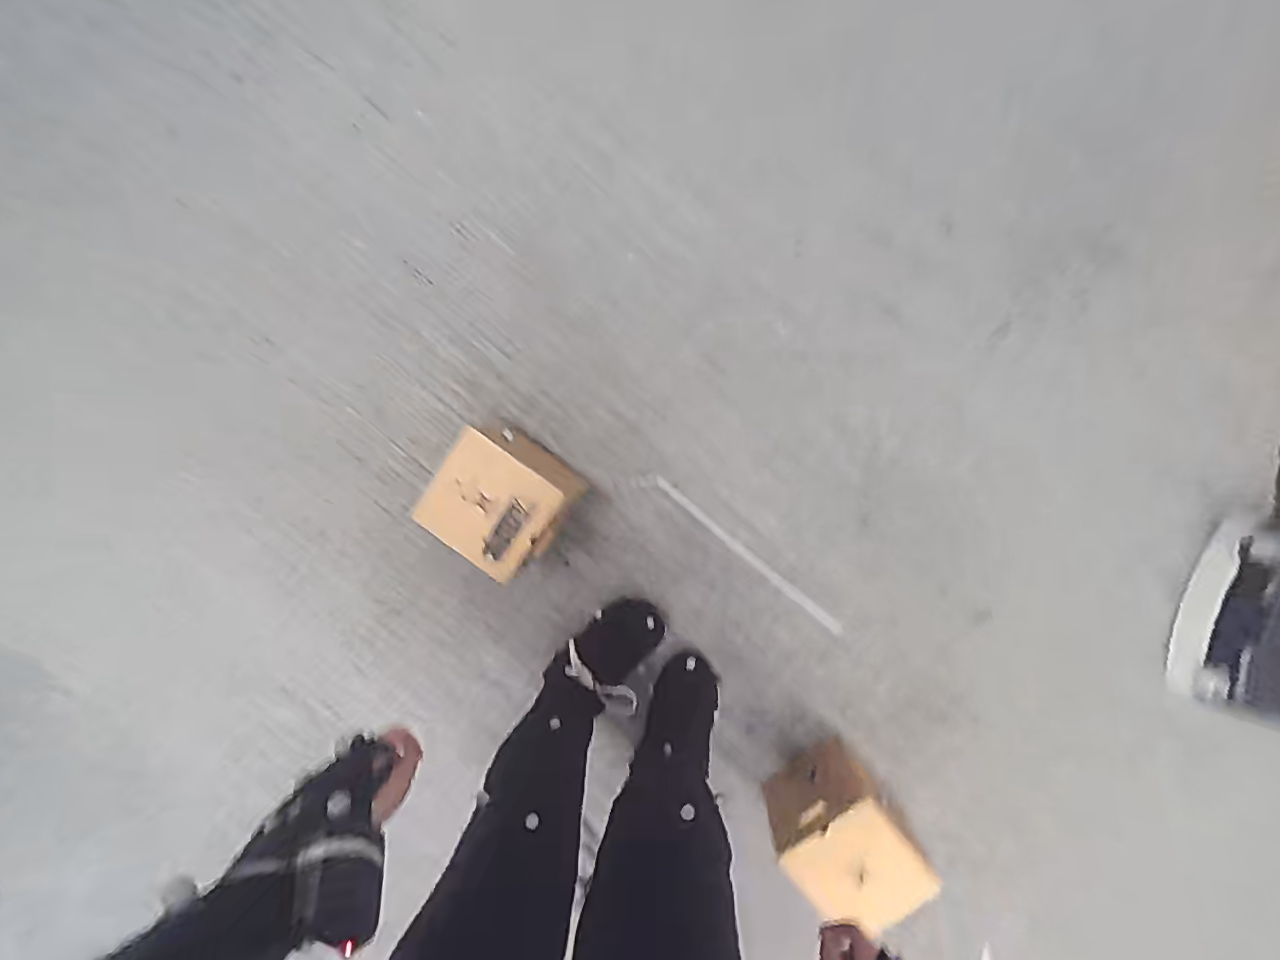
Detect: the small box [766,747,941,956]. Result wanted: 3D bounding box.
[{"bbox_3d":[0.322,0.572,0.856,0.168,0.176,0.179,-40,90,7],"label":"small box"}]
